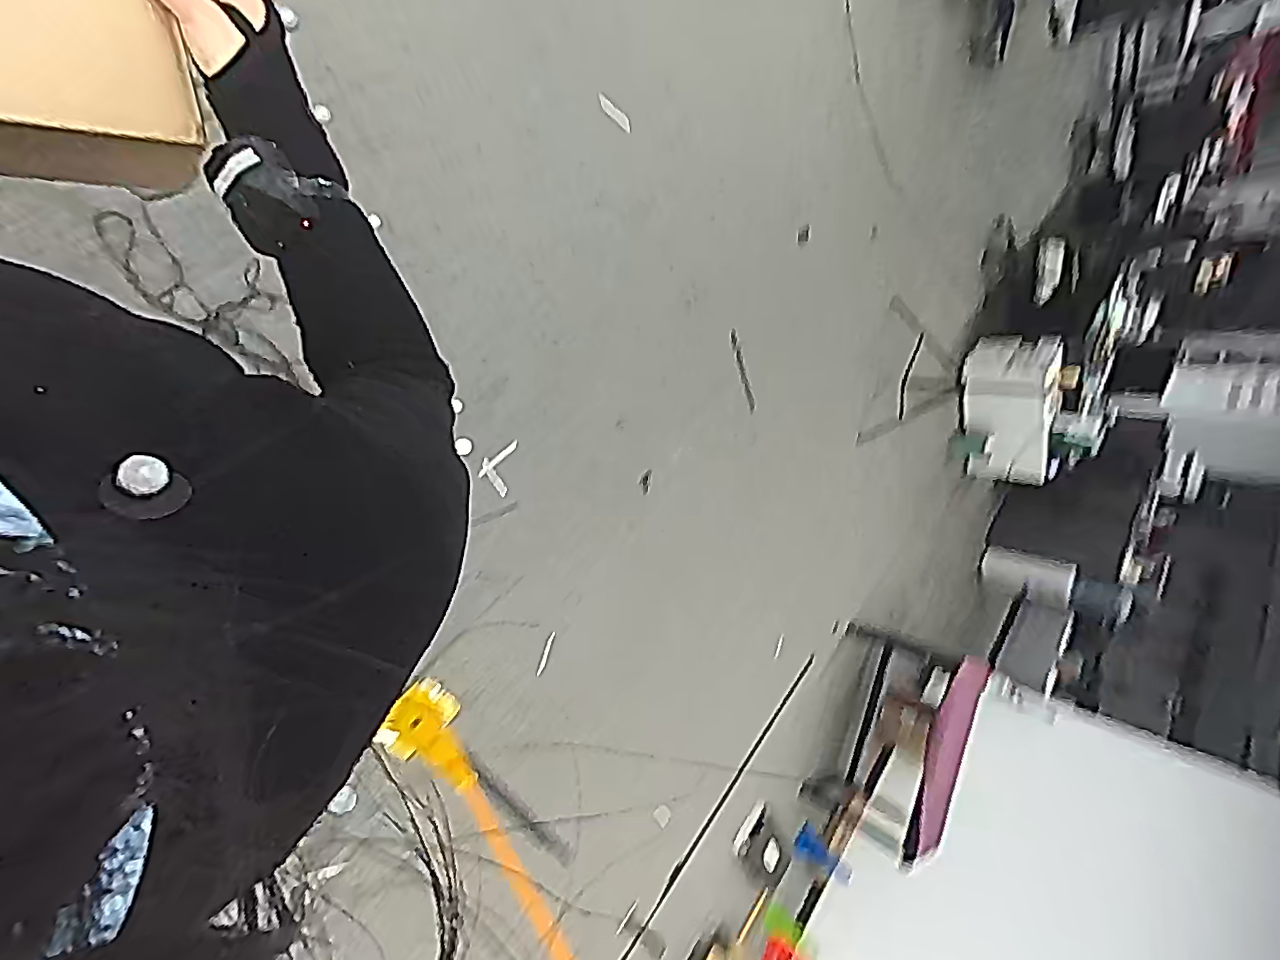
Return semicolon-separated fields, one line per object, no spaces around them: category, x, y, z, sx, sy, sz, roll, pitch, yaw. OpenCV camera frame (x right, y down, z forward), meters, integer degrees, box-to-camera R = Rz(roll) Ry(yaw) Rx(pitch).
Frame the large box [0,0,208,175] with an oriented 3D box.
large box;-0.578;-0.403;0.347;0.408;0.320;0.320;-16;116;-39
